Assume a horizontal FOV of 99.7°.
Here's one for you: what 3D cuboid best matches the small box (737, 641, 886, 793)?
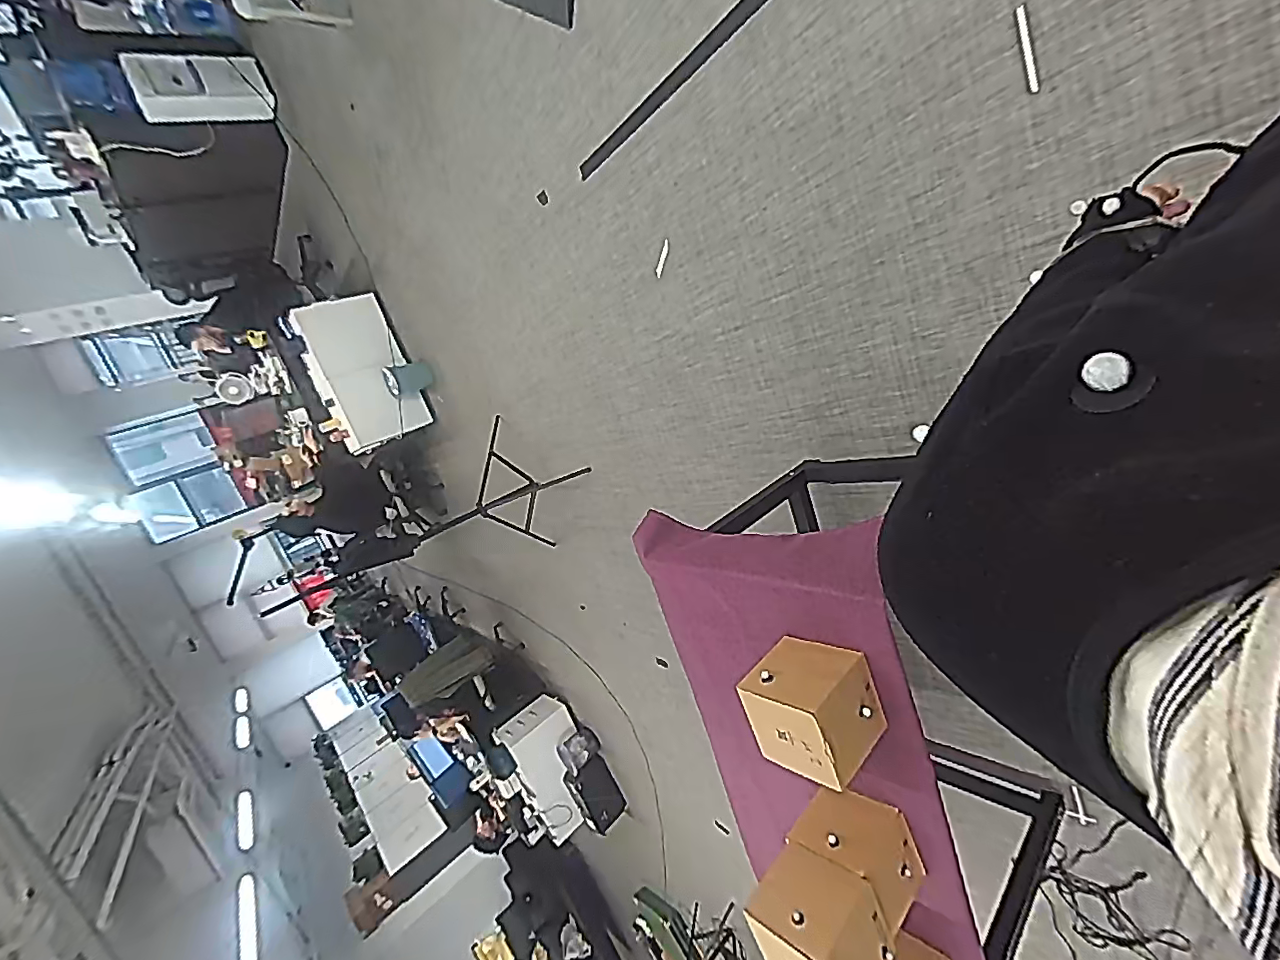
[{"bbox_3d":[0.317,0.420,0.995,0.179,0.176,0.168,-5,112,53],"label":"small box"}]

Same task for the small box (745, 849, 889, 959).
[{"bbox_3d":[0.331,0.830,0.990,0.179,0.176,0.168,-9,106,53],"label":"small box"}]

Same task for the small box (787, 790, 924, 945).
[{"bbox_3d":[0.439,0.768,1.098,0.179,0.176,0.168,-11,105,53],"label":"small box"}]
